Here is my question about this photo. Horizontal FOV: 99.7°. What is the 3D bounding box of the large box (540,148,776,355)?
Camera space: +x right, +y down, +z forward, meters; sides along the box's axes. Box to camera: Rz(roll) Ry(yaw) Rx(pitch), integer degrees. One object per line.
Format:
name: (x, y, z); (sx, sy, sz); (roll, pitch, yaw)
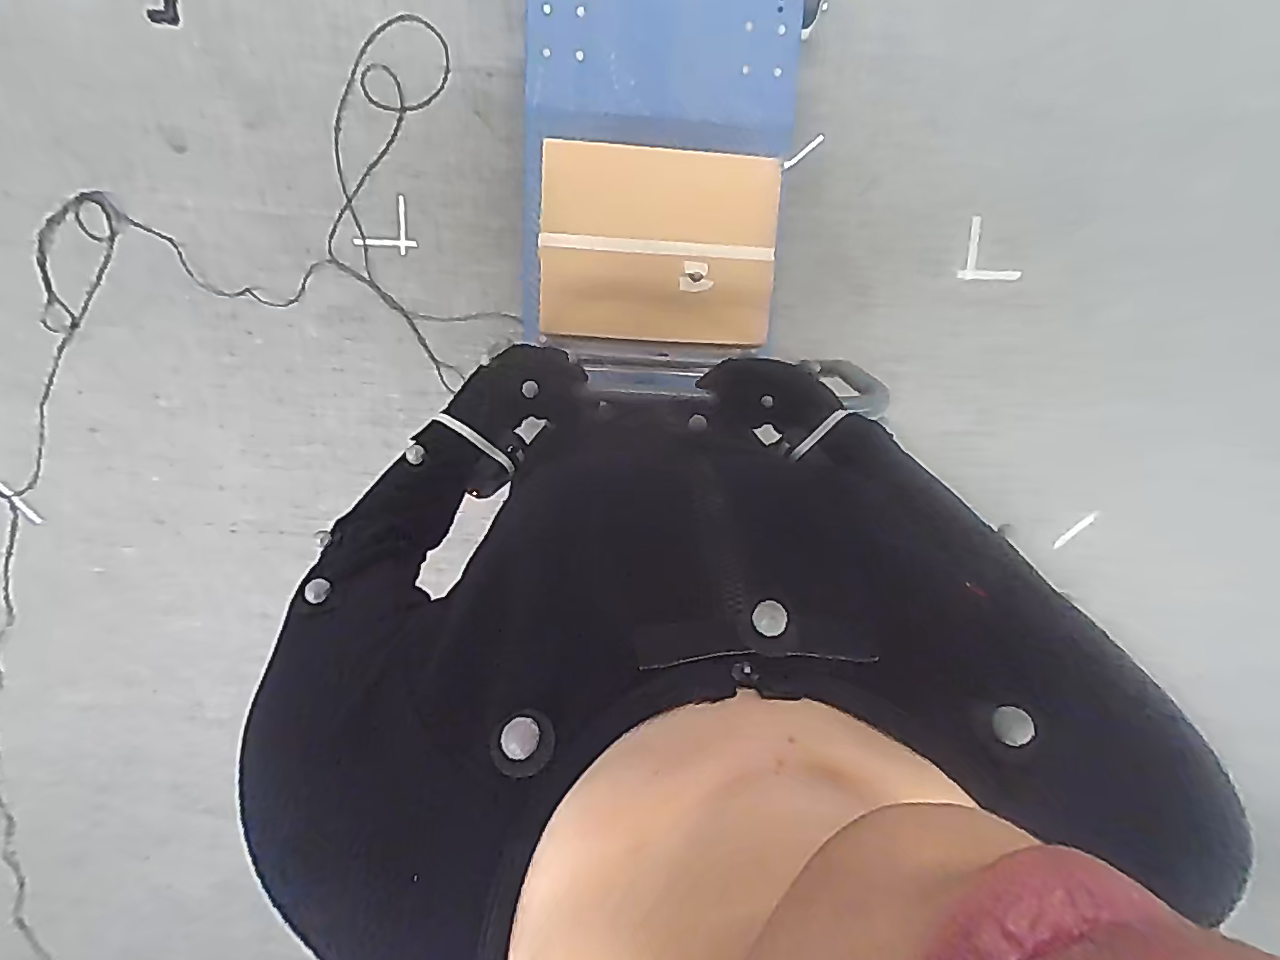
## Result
large box: (0.018, -0.418, 1.075); (0.408, 0.320, 0.320); (2, 101, -4)
